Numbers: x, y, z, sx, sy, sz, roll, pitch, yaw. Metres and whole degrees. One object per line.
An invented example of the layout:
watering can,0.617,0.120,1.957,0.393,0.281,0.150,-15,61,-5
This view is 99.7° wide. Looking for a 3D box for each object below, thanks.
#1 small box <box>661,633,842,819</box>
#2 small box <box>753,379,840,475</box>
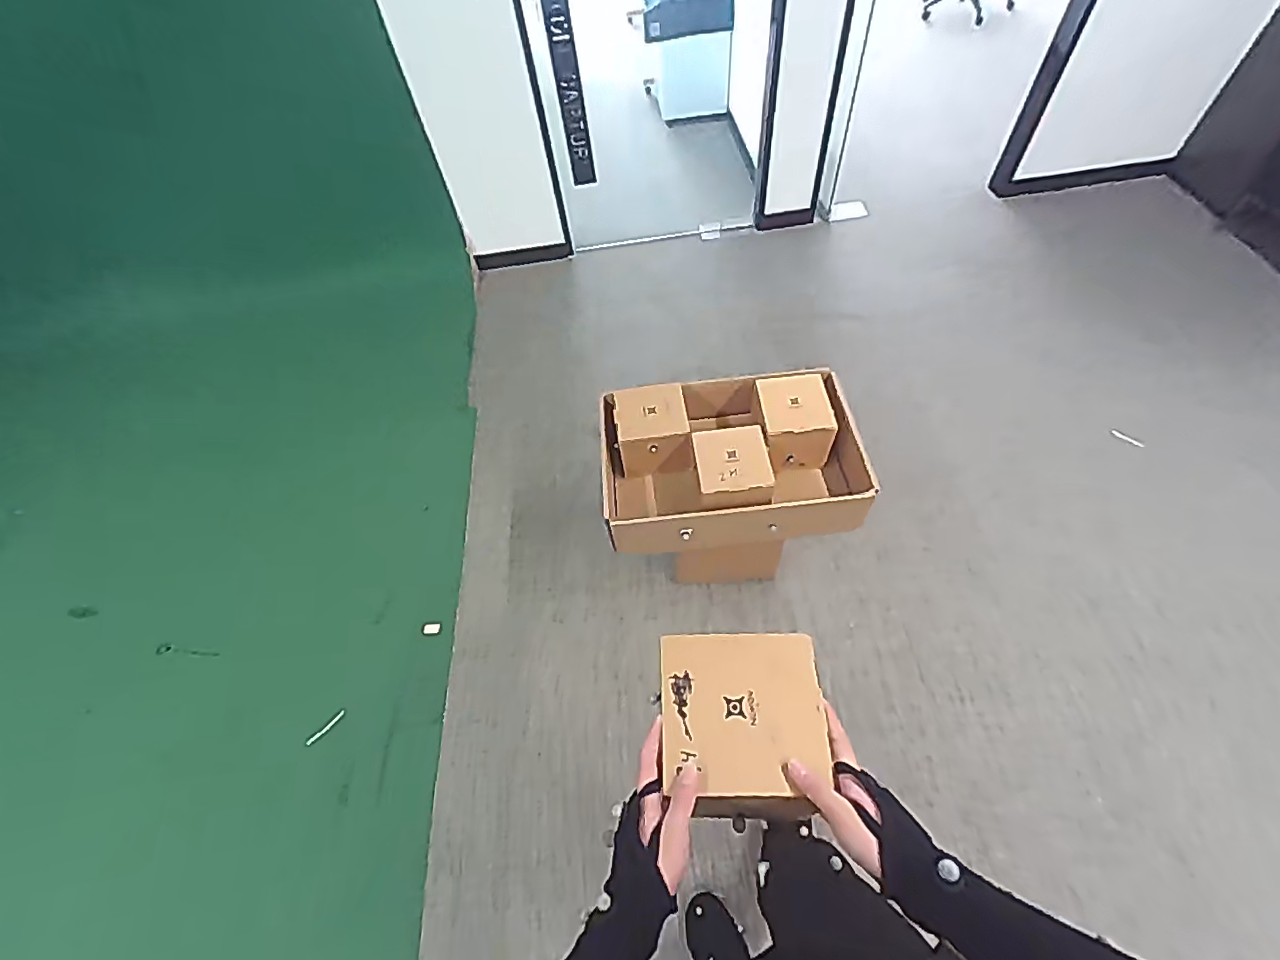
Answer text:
small box,0.114,0.292,0.636,0.179,0.176,0.168,0,52,2
small box,0.388,-0.133,1.375,0.168,0.176,0.179,-5,57,2
